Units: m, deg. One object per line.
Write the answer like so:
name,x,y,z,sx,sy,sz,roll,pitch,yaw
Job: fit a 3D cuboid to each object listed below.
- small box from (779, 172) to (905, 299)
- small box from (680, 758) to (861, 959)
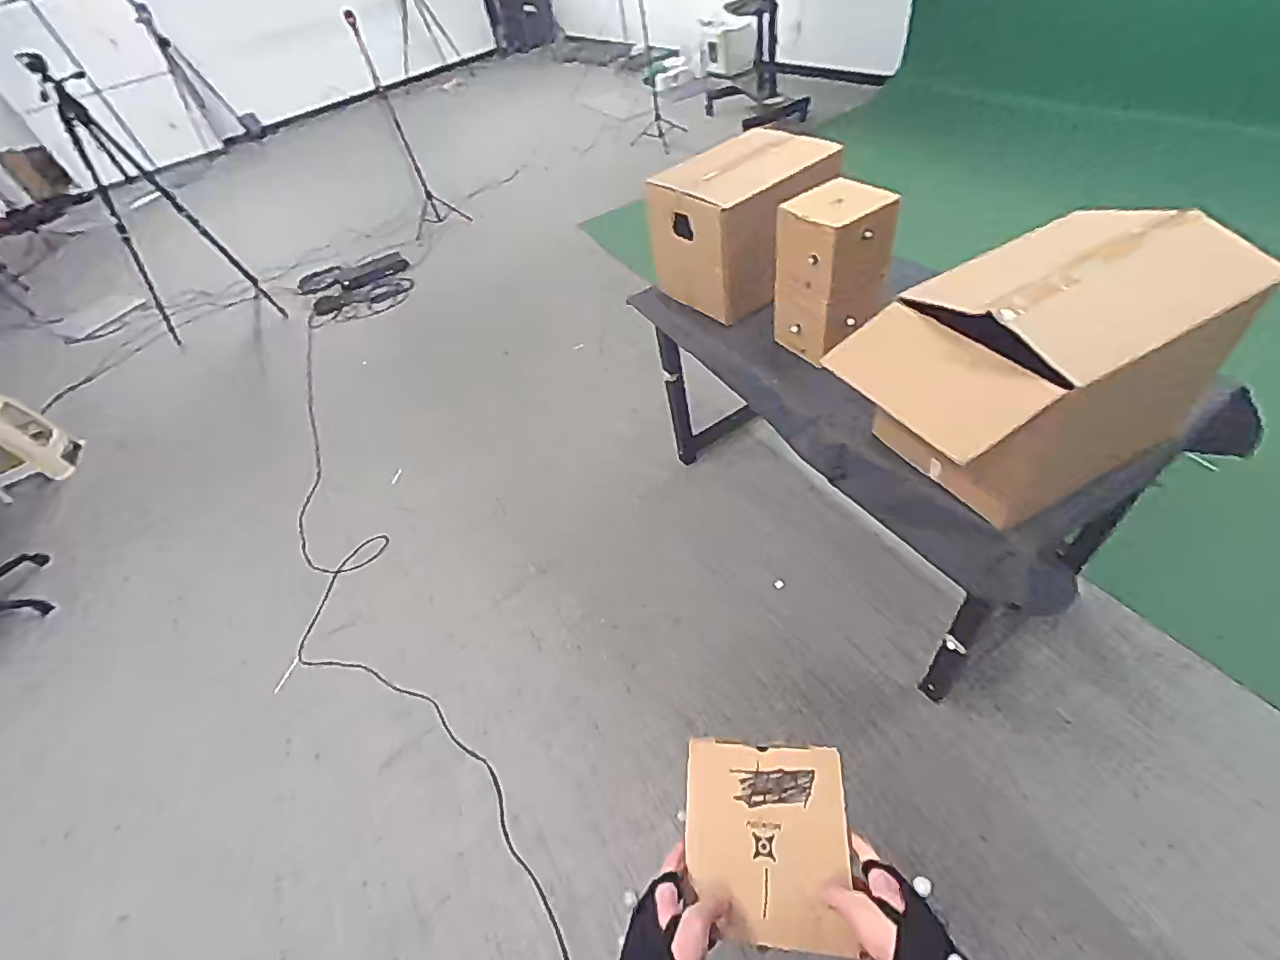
small box,0.408,-0.501,1.116,0.179,0.176,0.168,-30,51,-14
small box,0.138,0.423,0.603,0.168,0.176,0.179,-3,56,11
